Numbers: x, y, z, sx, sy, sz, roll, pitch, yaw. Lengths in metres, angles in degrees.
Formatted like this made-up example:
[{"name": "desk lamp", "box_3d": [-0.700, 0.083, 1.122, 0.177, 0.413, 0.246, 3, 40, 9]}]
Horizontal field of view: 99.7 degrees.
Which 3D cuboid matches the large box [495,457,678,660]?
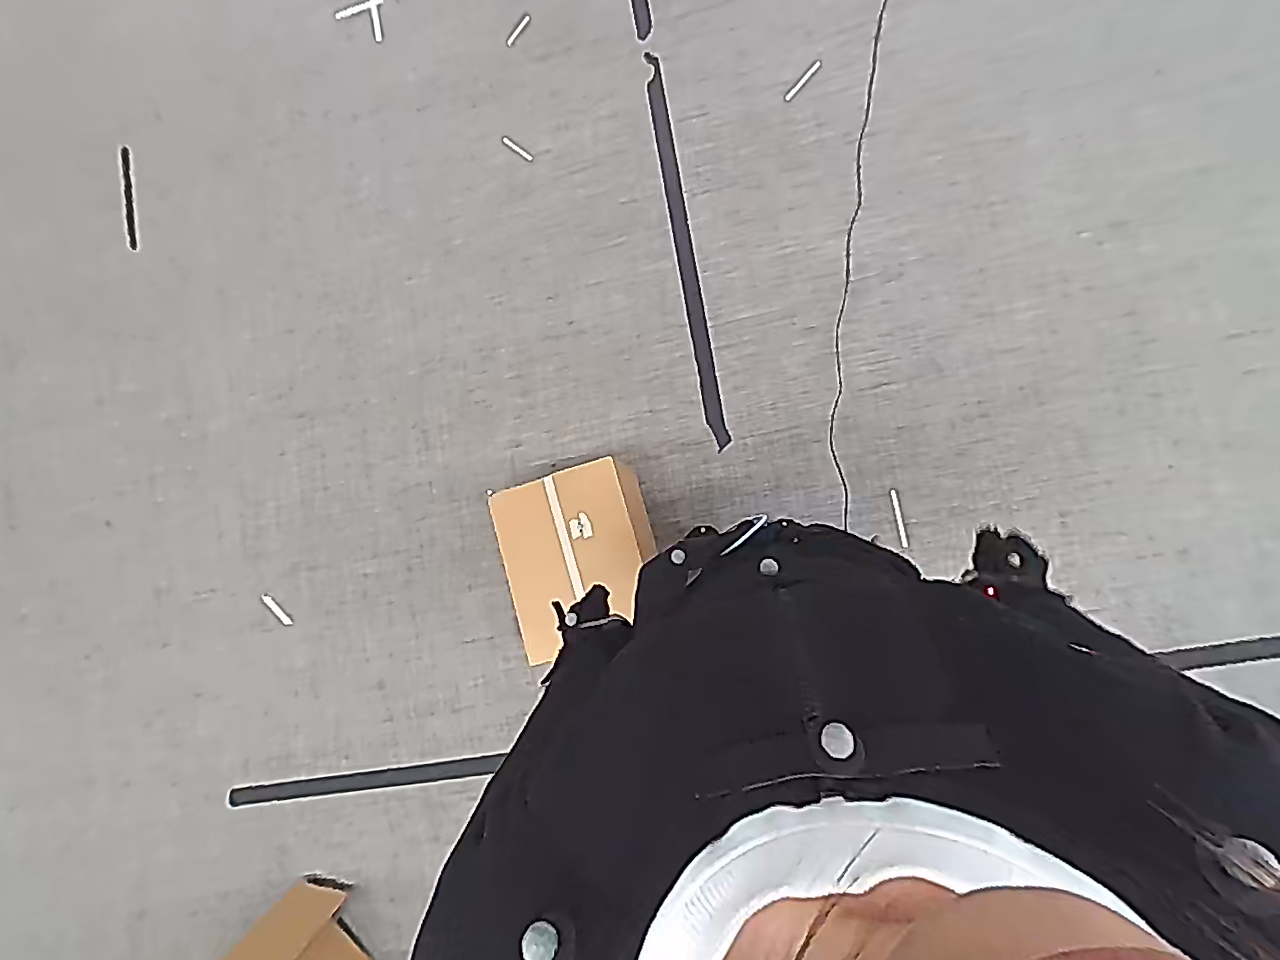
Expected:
[{"name": "large box", "box_3d": [-0.120, 0.195, 1.375, 0.320, 0.320, 0.408, -17, 80, 7]}]
